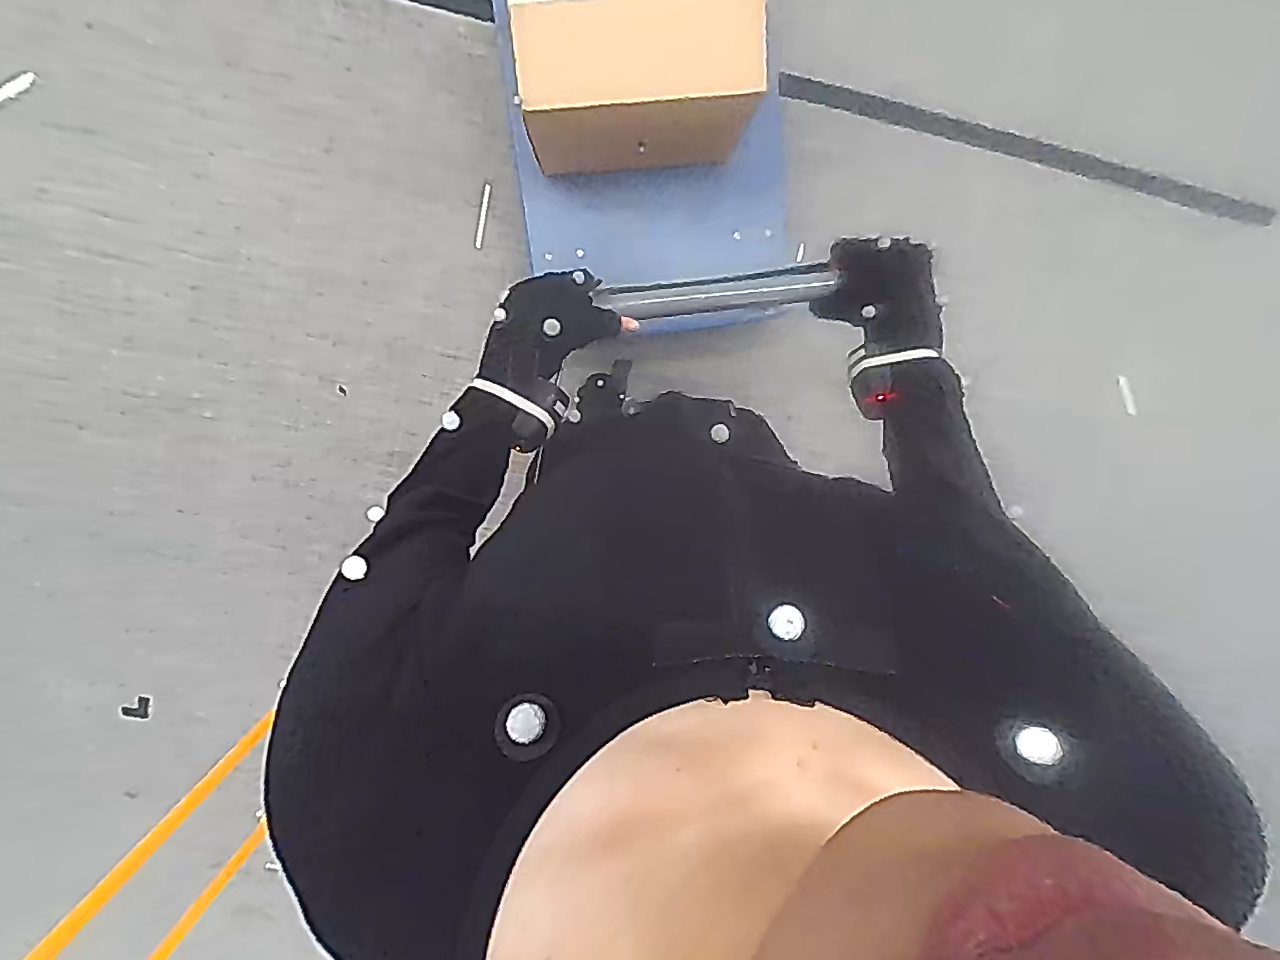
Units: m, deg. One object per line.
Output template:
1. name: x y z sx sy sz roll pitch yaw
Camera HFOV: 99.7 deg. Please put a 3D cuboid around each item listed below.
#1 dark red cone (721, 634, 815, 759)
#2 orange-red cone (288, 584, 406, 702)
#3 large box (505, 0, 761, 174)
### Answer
1. dark red cone: 0.361 0.583 1.417 0.201 0.394 0.202 12 101 -7
2. orange-red cone: -0.760 0.431 1.343 0.198 0.360 0.199 19 98 -8
3. large box: -0.018 -0.794 0.996 0.408 0.320 0.320 -6 102 -1
